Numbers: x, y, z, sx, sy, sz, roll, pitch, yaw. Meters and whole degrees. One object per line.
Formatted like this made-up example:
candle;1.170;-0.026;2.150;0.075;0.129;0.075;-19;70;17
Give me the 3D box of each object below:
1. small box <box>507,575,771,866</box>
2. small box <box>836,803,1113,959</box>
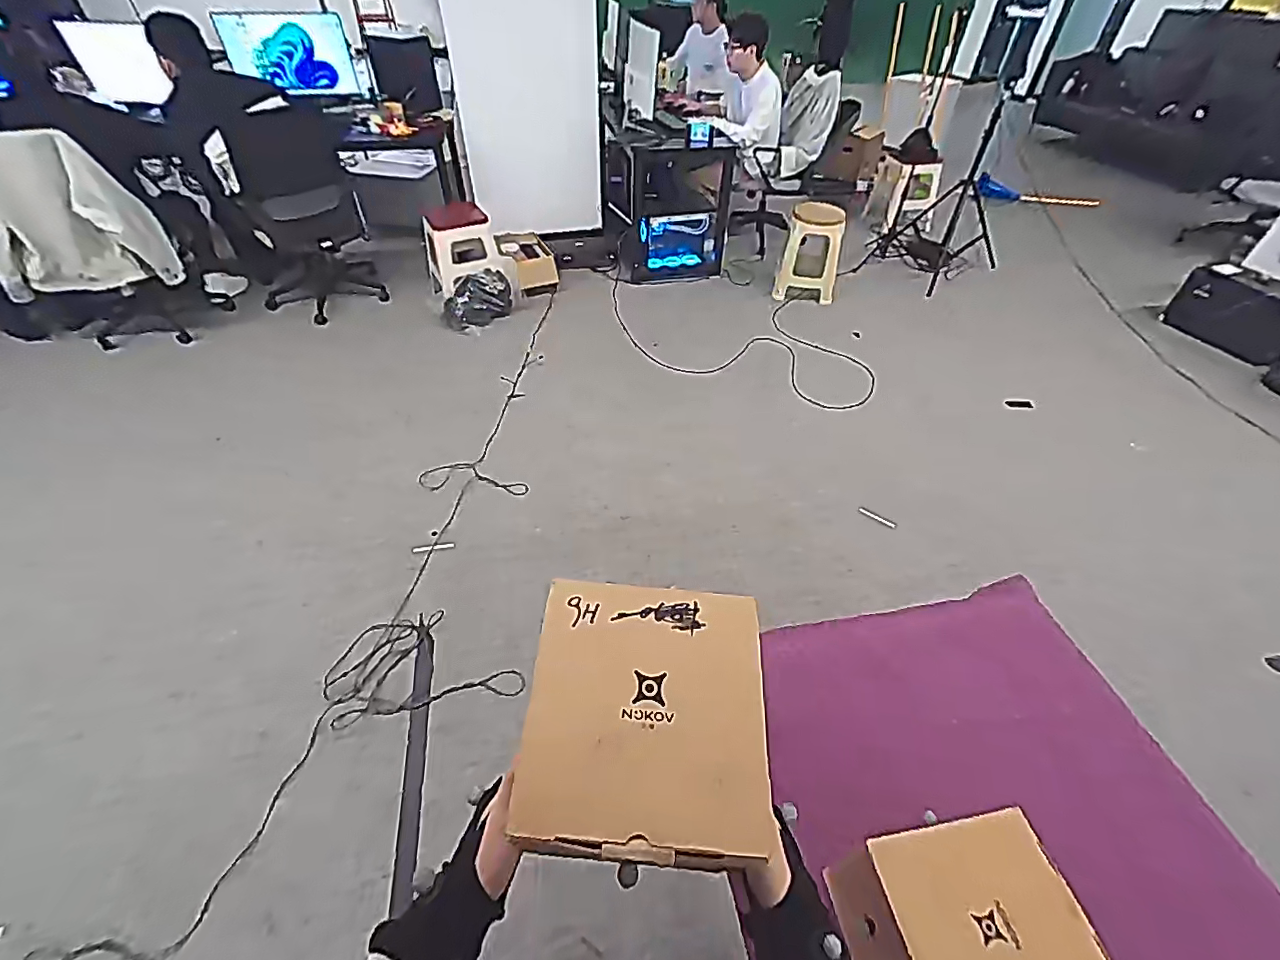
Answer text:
small box;0.001;0.199;0.439;0.168;0.176;0.179;6;54;-1
small box;0.319;0.456;0.547;0.179;0.176;0.168;-6;46;-9
